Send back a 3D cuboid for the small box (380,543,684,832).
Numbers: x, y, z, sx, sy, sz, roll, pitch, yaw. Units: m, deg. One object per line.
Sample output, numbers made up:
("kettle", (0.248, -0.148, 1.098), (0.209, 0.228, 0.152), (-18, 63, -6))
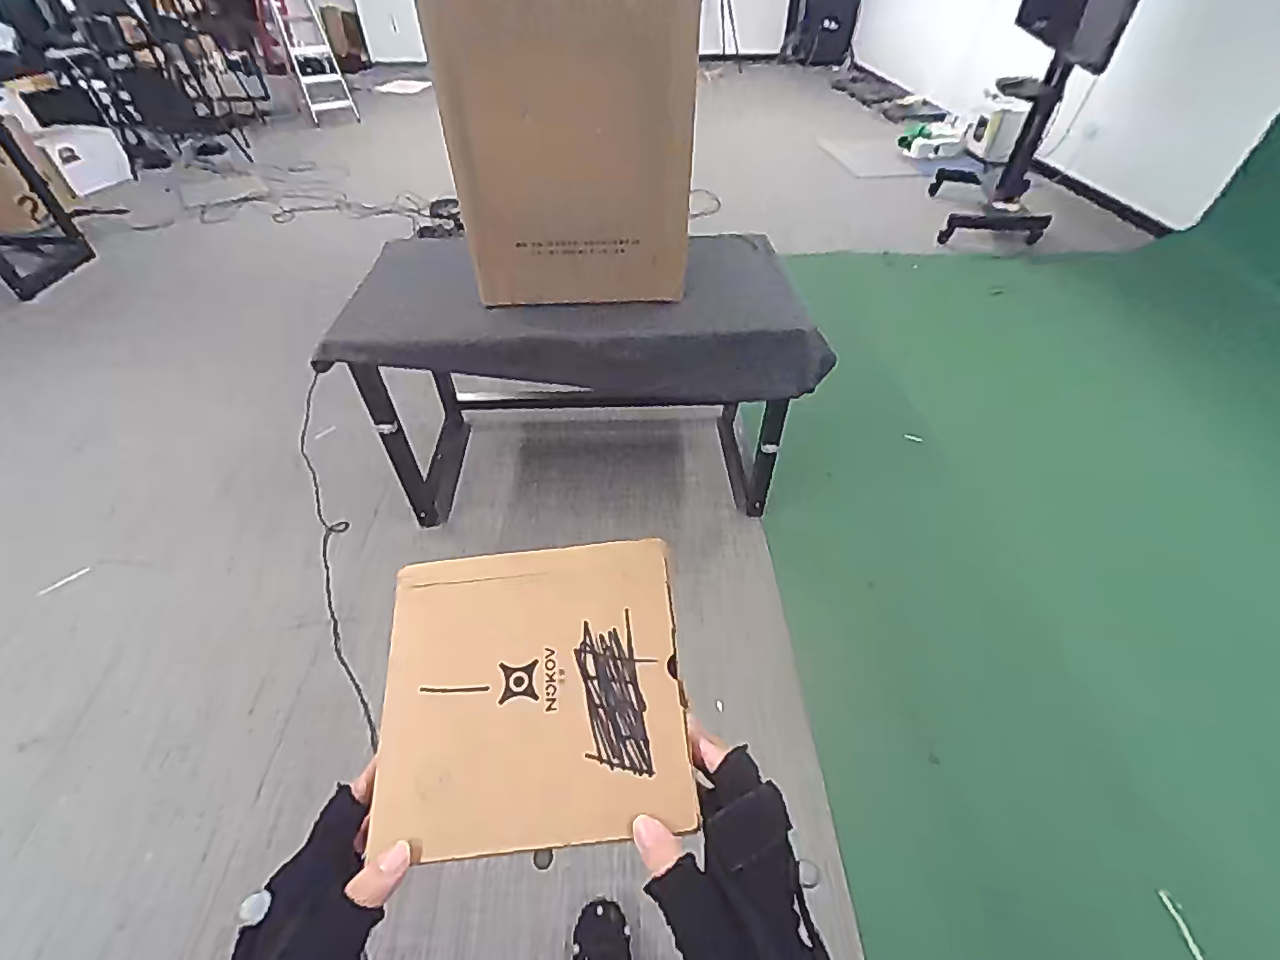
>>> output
("small box", (-0.066, 0.160, 0.415), (0.179, 0.176, 0.168), (-5, 61, -1))
